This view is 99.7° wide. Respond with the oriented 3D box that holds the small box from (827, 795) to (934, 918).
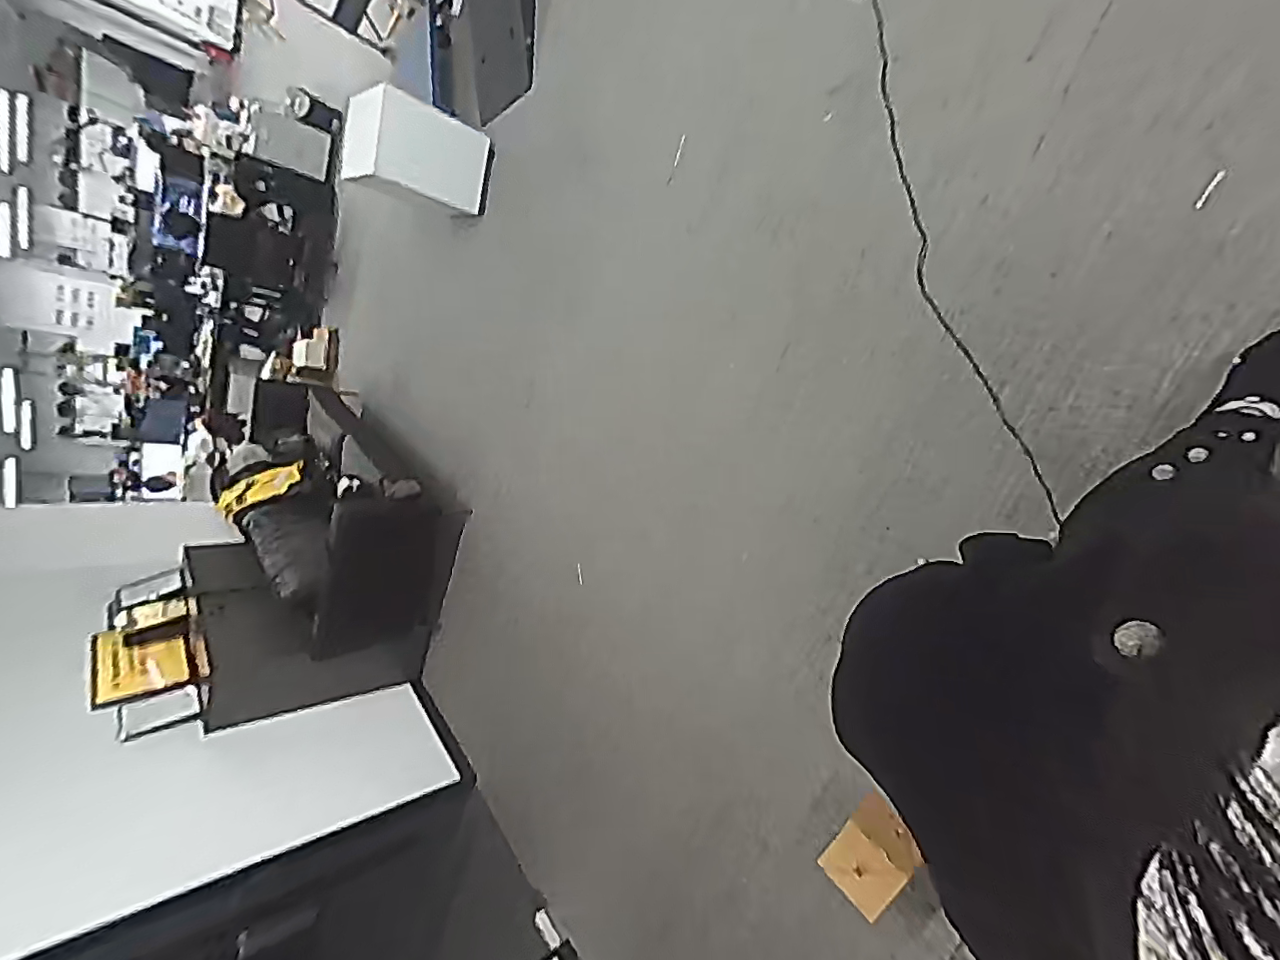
[{"bbox_3d":[0.632,0.973,1.411,0.168,0.176,0.179,38,114,38],"label":"small box"}]
